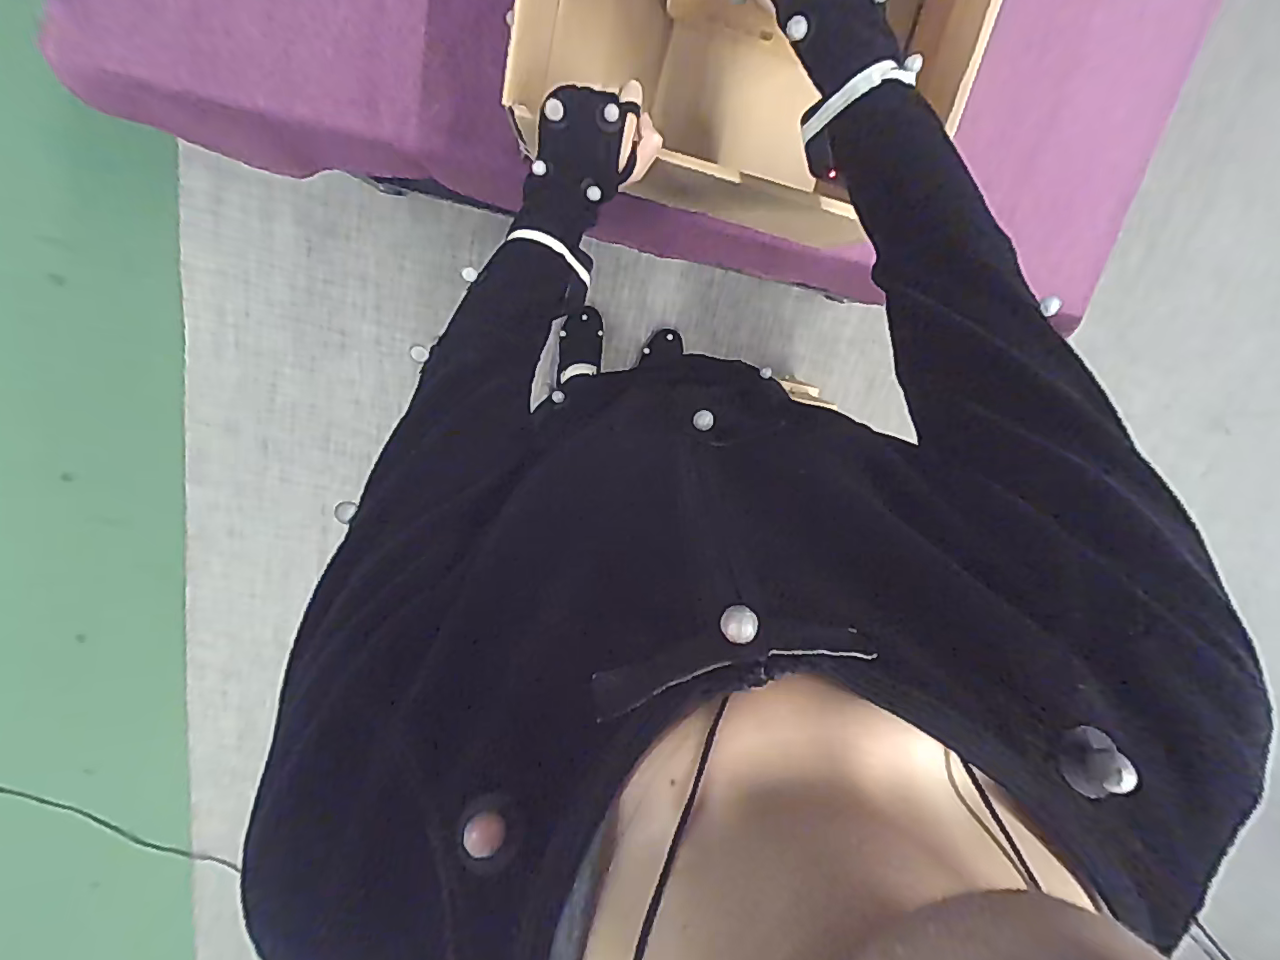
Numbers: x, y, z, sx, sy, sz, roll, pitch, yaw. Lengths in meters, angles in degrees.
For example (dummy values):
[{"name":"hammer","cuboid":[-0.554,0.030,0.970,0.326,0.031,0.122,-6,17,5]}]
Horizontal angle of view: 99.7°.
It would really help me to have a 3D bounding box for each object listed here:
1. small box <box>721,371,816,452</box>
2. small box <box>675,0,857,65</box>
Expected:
[{"name":"small box","cuboid":[0.328,-0.185,1.415,0.179,0.176,0.168,10,107,-7]},{"name":"small box","cuboid":[0.132,-0.517,0.477,0.168,0.176,0.179,13,103,-7]}]
